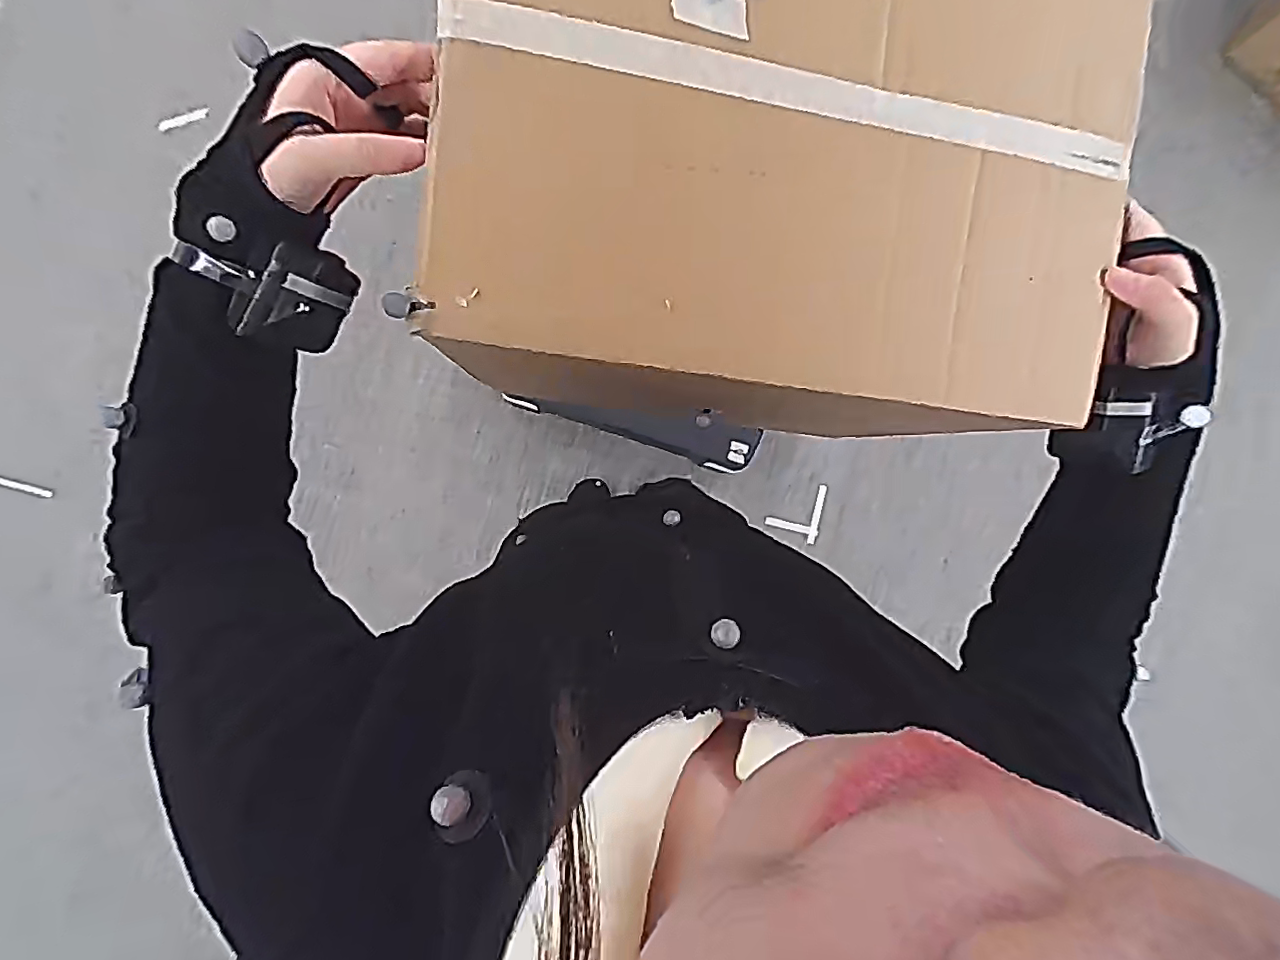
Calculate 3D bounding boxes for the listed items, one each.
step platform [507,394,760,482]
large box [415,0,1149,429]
[{"bbox_3d":[-0.023,-0.242,1.402,0.684,0.204,0.286,23,88,-5],"label":"step platform"},{"bbox_3d":[0.075,-0.214,0.447,0.408,0.320,0.320,6,92,-7],"label":"large box"}]
